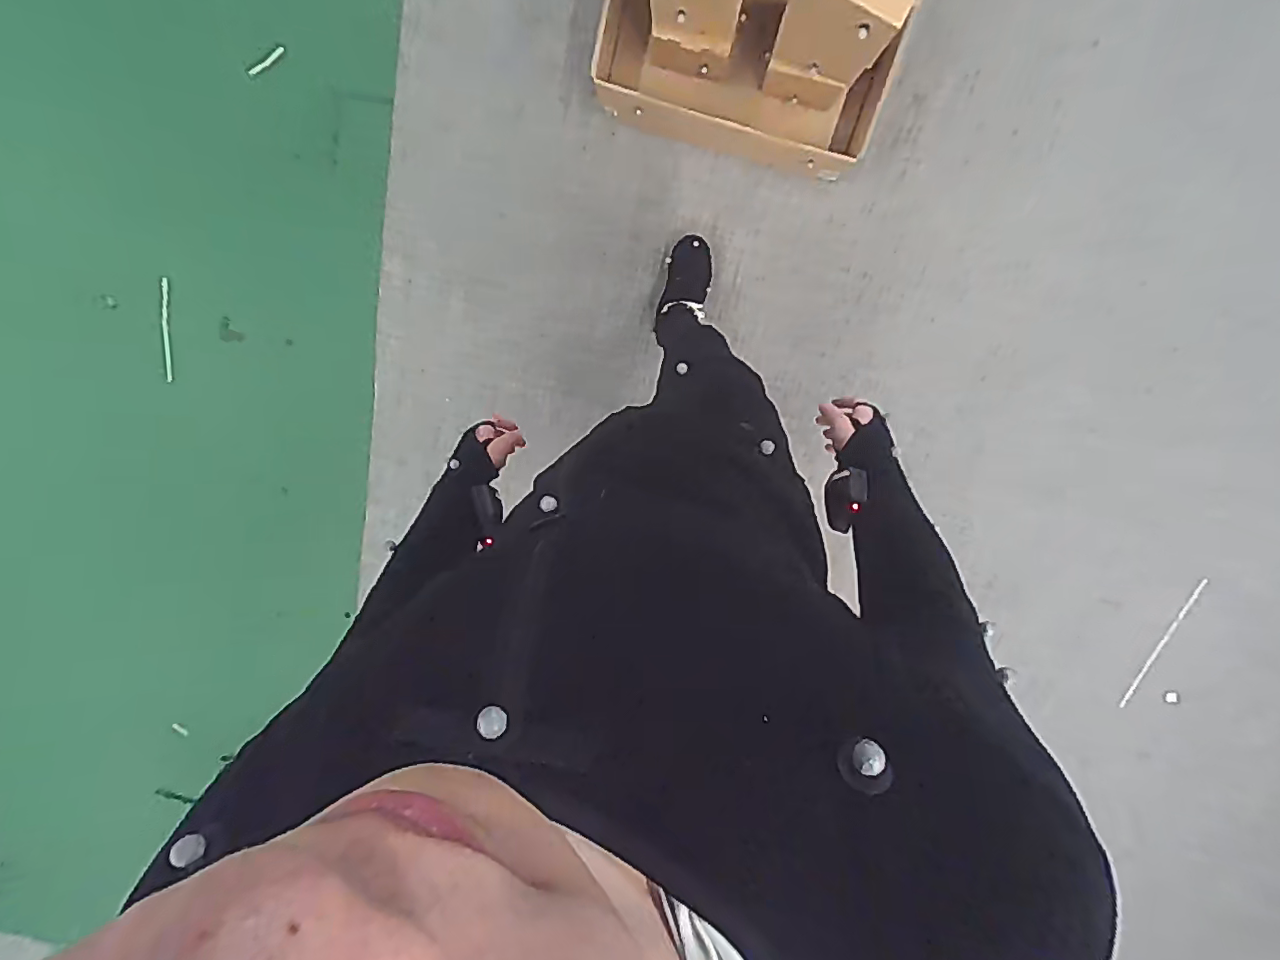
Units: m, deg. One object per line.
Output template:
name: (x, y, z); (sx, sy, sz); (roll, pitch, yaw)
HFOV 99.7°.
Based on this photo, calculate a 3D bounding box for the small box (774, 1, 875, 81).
small box: (0.364, -0.867, 0.988); (0.179, 0.176, 0.168); (19, 110, -1)

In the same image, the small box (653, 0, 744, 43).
small box: (0.122, -0.949, 0.990); (0.168, 0.176, 0.179); (13, 110, -1)

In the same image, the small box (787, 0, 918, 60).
small box: (0.352, -0.797, 0.837); (0.179, 0.176, 0.168); (27, 110, -3)
